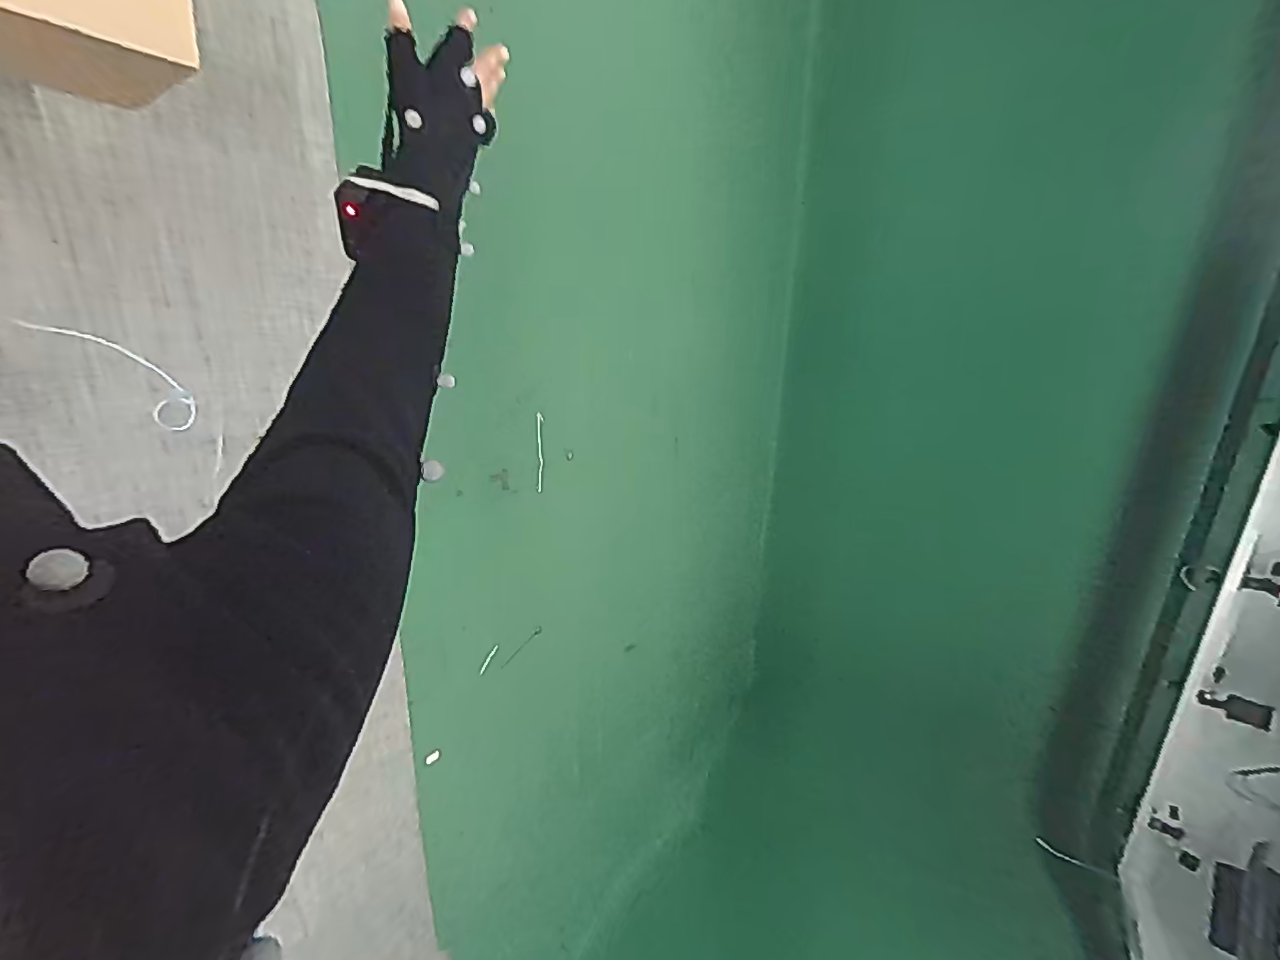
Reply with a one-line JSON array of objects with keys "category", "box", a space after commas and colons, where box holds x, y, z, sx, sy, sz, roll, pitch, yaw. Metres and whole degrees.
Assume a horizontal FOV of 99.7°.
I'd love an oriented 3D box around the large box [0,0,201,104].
[{"category": "large box", "box": [-0.859, -0.719, 0.662, 0.408, 0.320, 0.320, -19, 116, -52]}]
